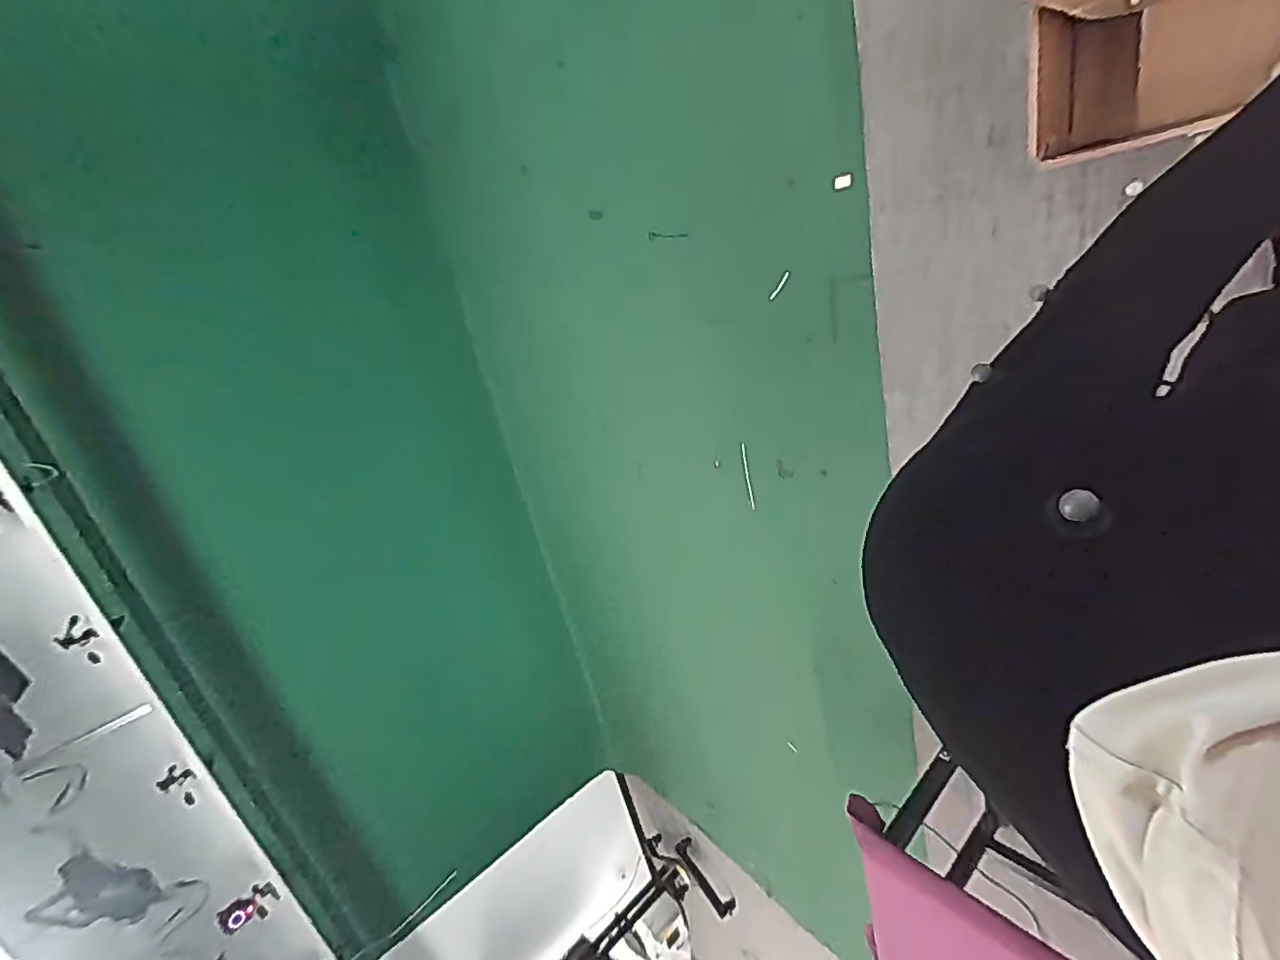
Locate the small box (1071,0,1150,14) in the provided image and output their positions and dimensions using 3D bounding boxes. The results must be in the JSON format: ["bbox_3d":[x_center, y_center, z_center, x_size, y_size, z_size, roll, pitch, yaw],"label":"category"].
[{"bbox_3d":[0.663,-0.723,0.667,0.168,0.176,0.179,15,124,49],"label":"small box"}]
